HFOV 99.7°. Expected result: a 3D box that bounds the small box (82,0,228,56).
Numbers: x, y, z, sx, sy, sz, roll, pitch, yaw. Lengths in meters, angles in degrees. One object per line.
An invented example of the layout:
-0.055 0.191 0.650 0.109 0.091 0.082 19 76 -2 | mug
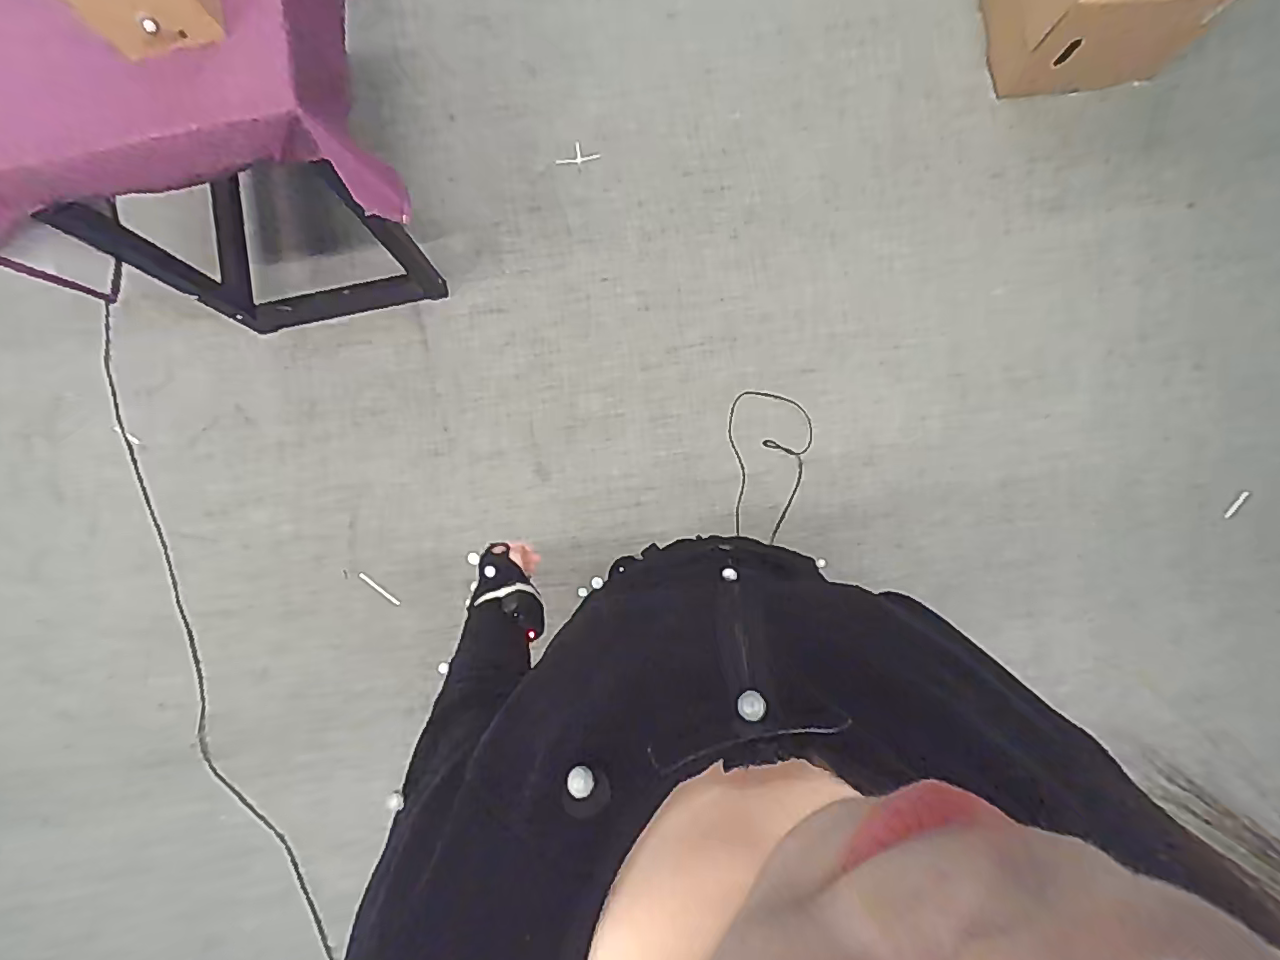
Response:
-0.778 -0.808 0.825 0.168 0.176 0.179 -13 84 0 | small box
